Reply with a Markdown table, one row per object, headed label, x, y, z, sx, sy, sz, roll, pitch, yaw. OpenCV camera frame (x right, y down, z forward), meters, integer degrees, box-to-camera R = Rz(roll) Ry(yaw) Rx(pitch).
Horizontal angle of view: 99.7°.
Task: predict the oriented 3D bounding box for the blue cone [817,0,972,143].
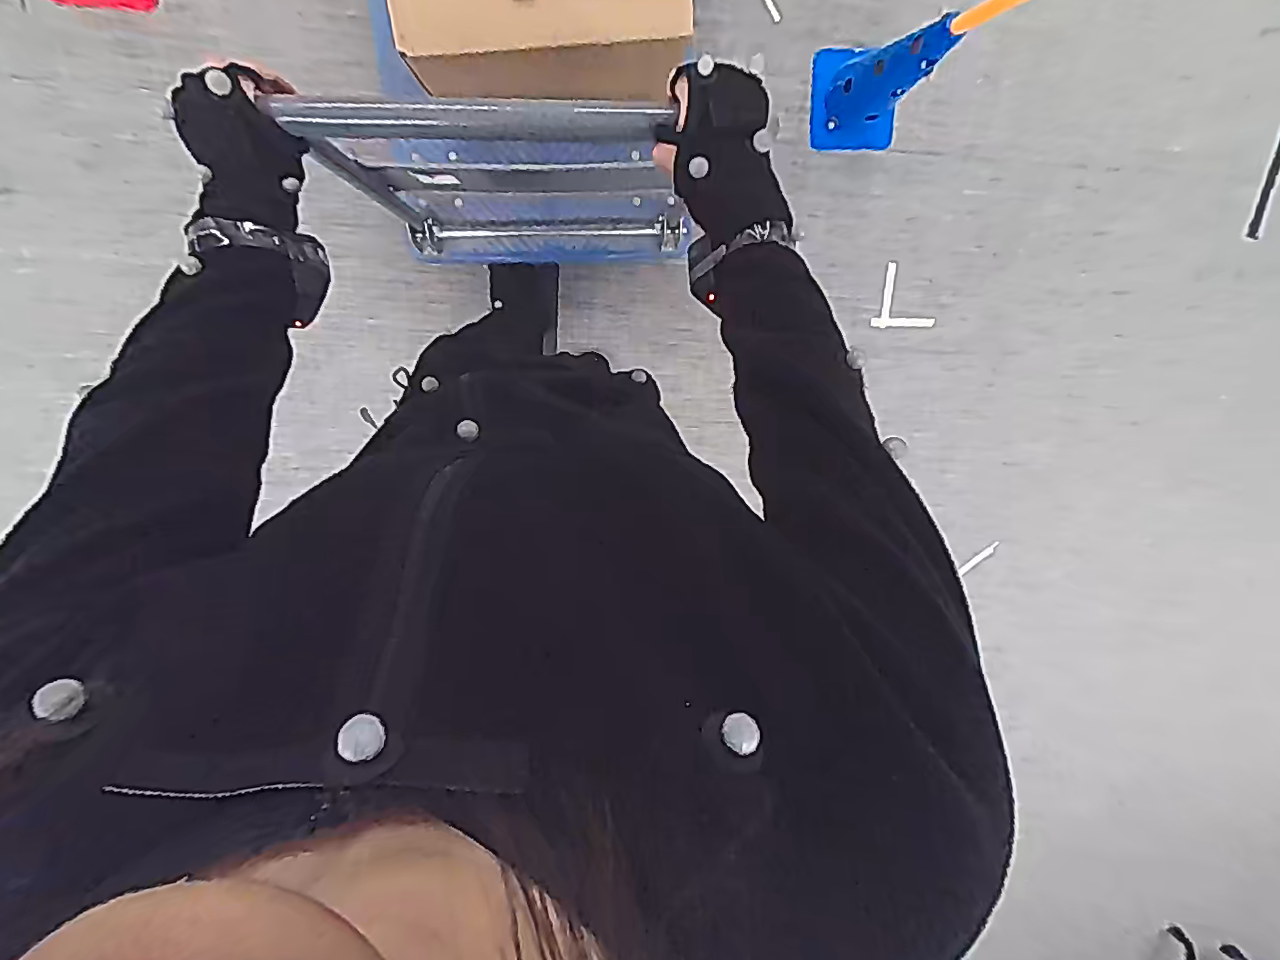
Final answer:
| label | x | y | z | sx | sy | sz | roll | pitch | yaw |
| --- | --- | --- | --- | --- | --- | --- | --- | --- | --- |
| blue cone | 0.511 | -0.823 | 1.069 | 0.193 | 0.380 | 0.192 | -3 | 108 | -6 |
